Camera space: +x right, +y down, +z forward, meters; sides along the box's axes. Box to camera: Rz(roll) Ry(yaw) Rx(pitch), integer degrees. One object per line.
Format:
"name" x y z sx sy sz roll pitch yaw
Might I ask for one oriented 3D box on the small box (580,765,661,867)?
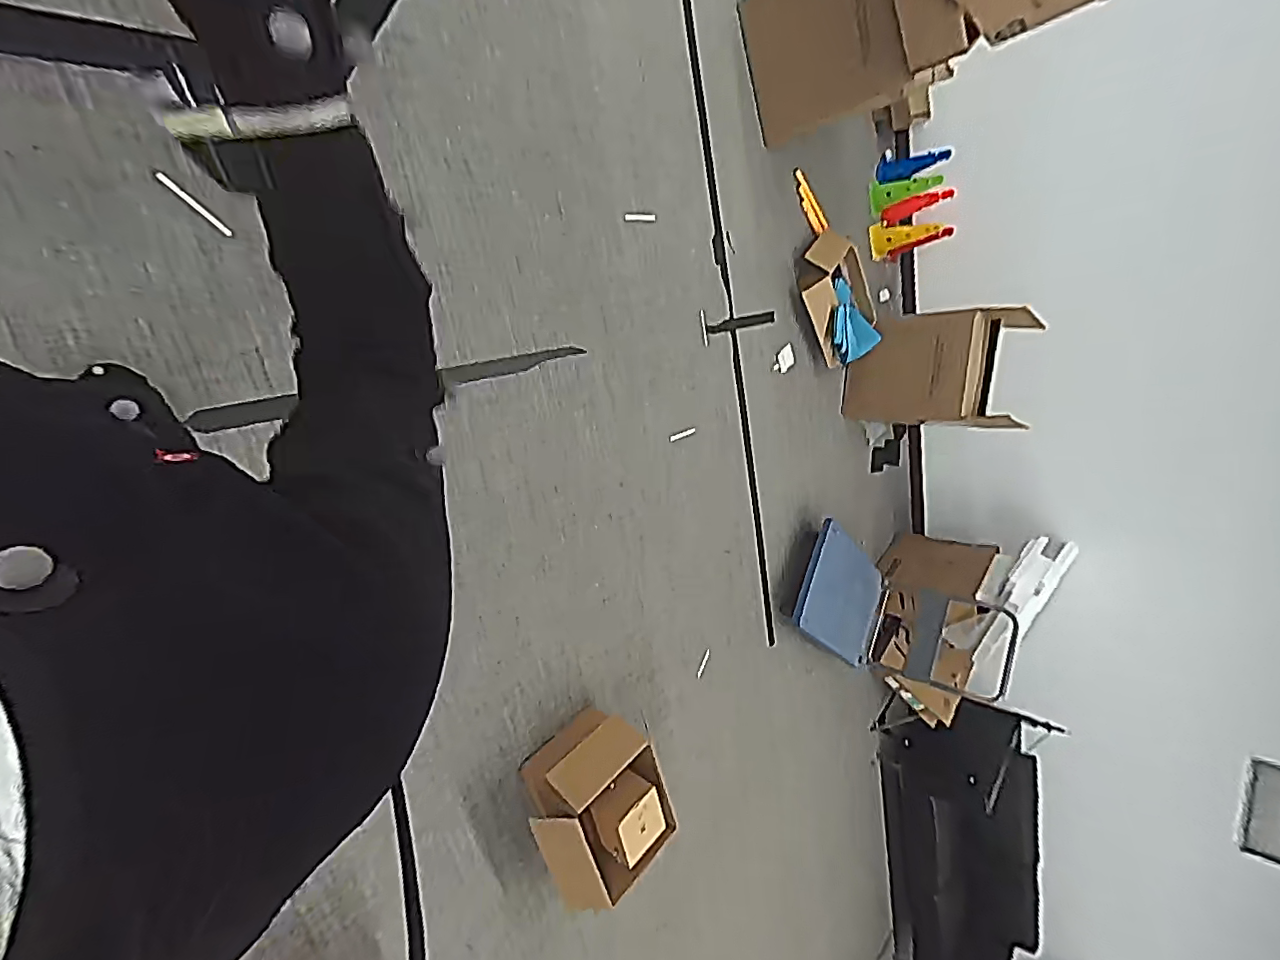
"small box" -0.063 1.042 1.693 0.168 0.176 0.179 -28 113 -40
